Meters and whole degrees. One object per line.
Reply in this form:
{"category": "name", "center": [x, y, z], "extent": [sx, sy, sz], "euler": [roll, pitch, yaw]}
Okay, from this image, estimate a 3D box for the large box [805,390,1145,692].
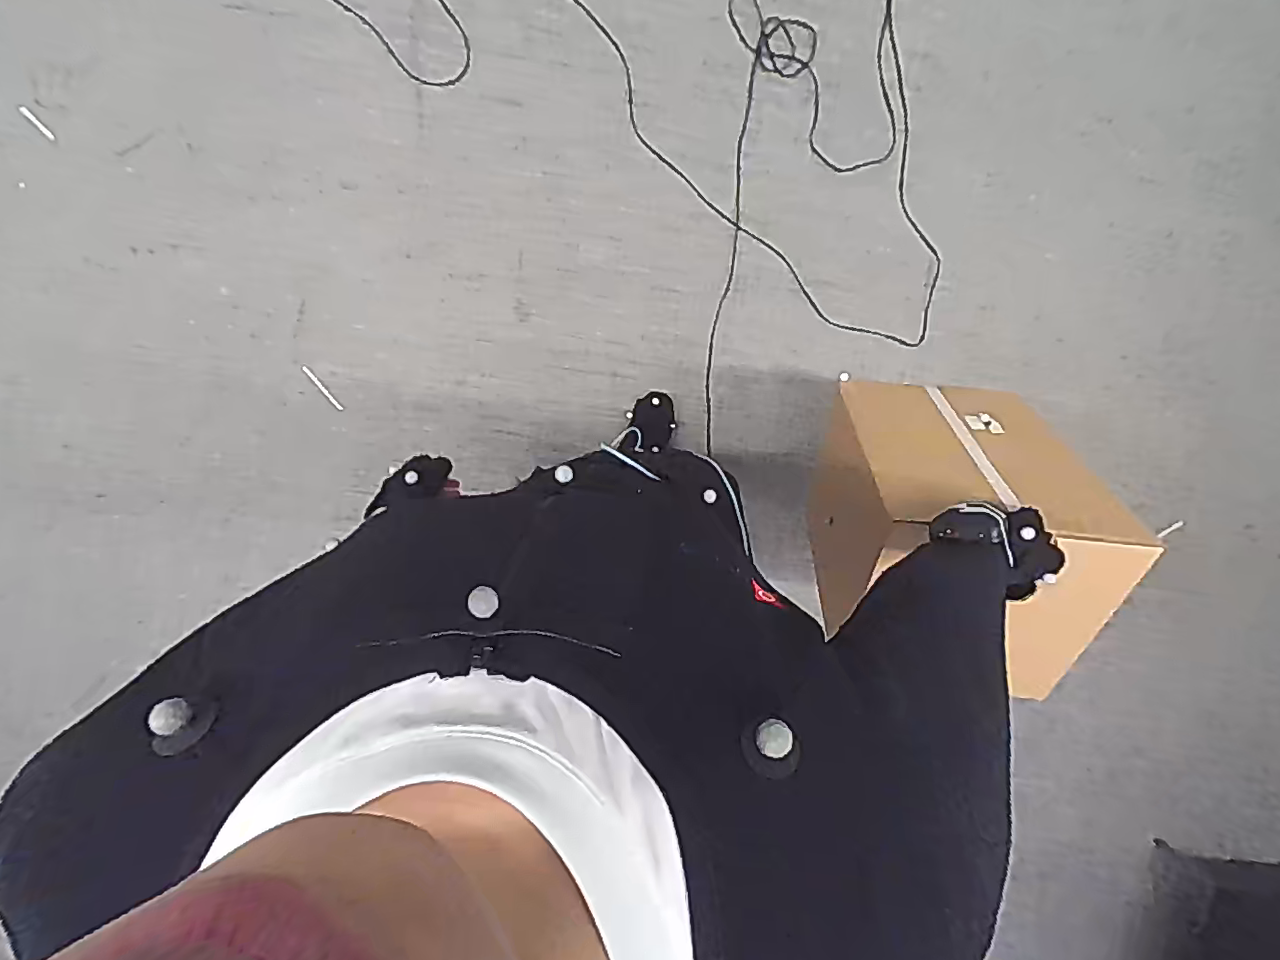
{"category": "large box", "center": [0.482, 0.083, 0.908], "extent": [0.320, 0.408, 0.320], "euler": [7, 125, 5]}
